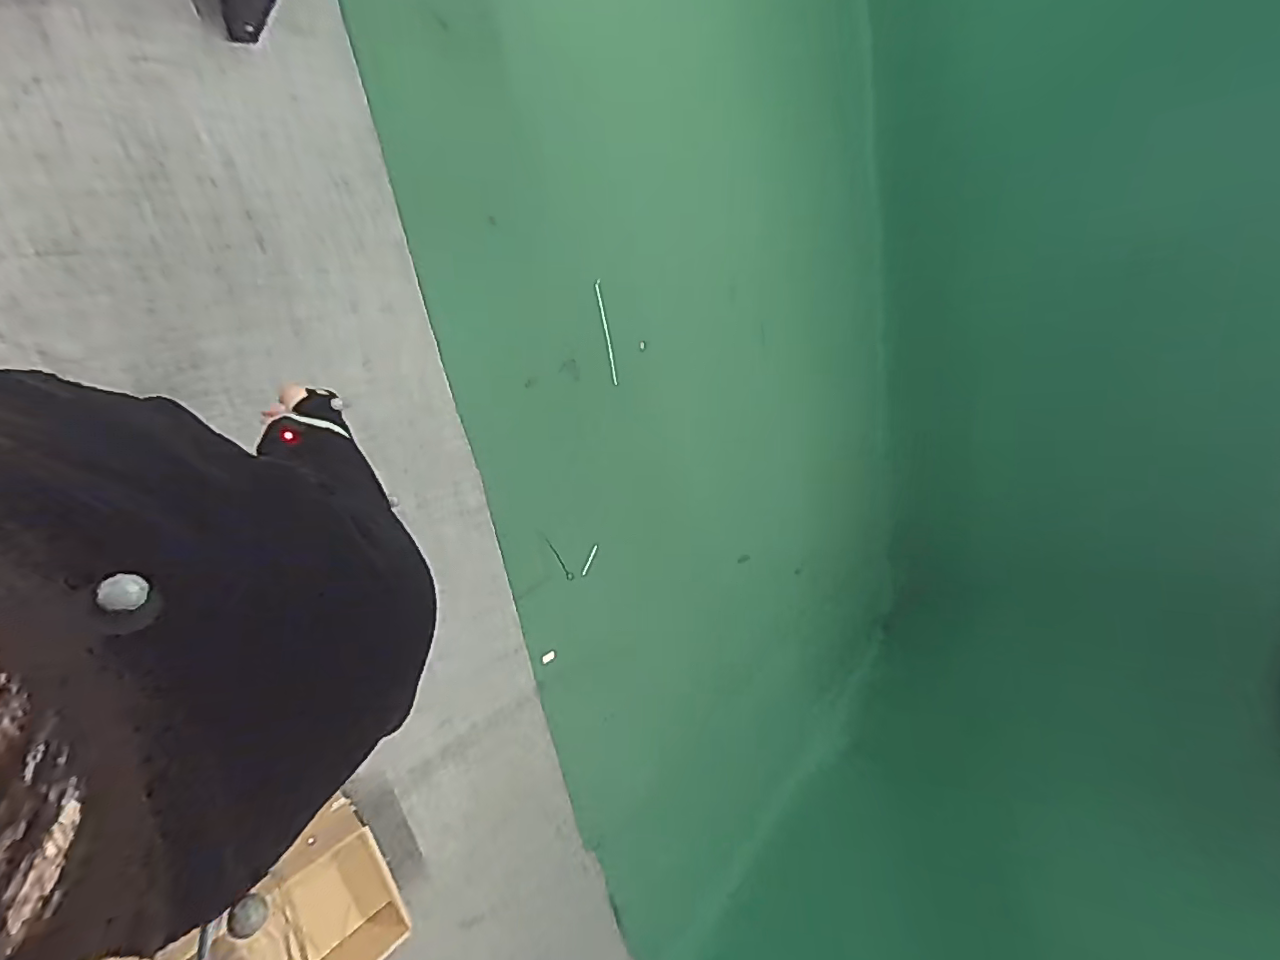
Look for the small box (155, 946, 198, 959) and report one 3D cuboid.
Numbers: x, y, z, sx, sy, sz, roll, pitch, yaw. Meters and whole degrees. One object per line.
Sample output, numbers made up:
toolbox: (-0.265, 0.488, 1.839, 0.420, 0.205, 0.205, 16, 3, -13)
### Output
small box: (-1.022, 1.148, 1.141, 0.168, 0.176, 0.179, -24, 113, -41)
